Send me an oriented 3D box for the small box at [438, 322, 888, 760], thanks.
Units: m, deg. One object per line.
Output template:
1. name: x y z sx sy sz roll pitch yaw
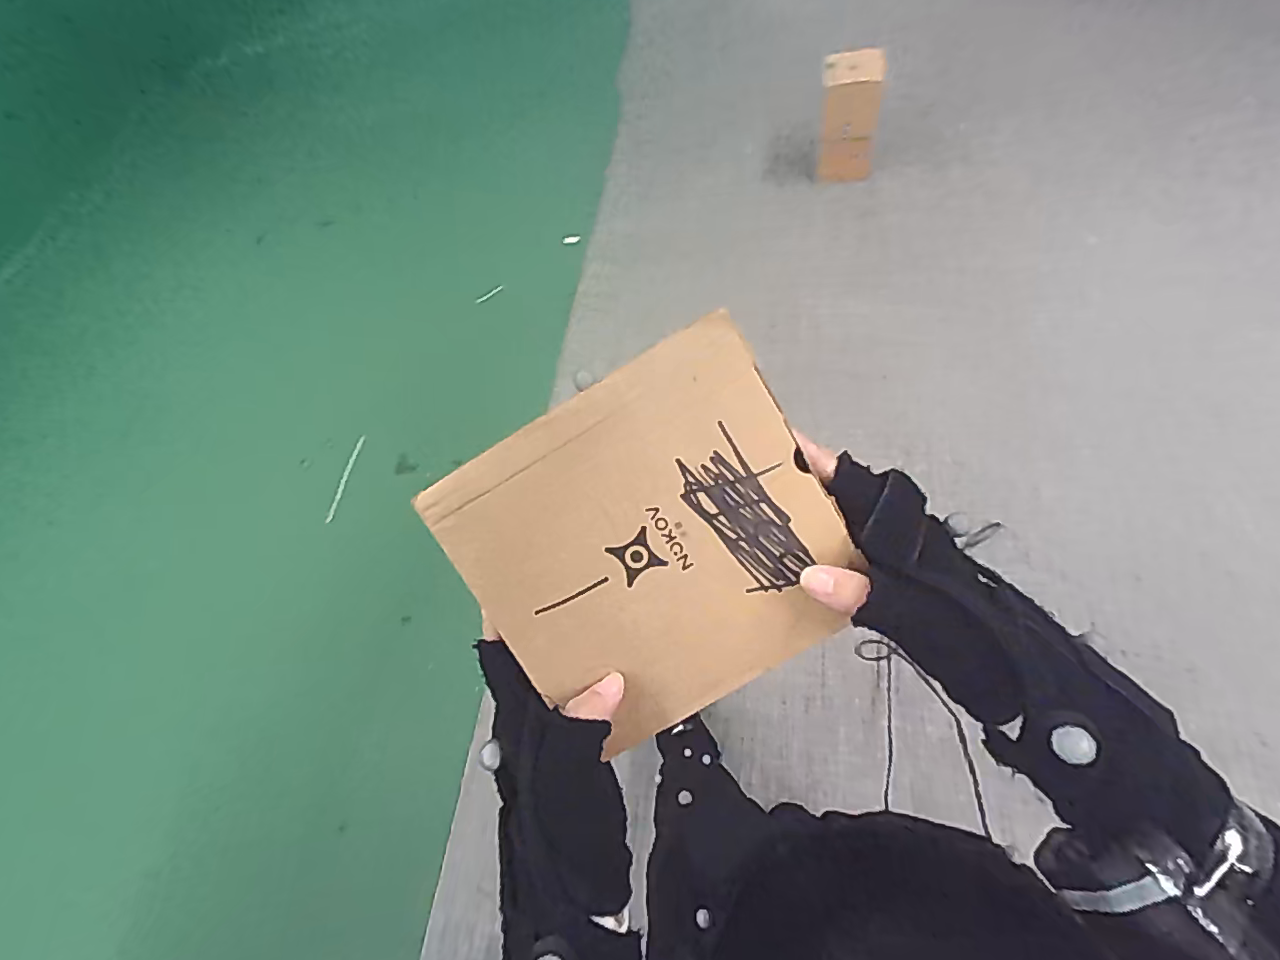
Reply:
1. small box: 0.012 0.025 0.350 0.179 0.176 0.168 -33 96 4

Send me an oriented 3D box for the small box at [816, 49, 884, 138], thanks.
1. small box: 0.664 -1.221 1.715 0.179 0.176 0.168 5 66 14

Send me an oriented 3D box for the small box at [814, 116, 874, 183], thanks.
1. small box: 0.697 -1.157 1.862 0.179 0.176 0.168 1 65 15
